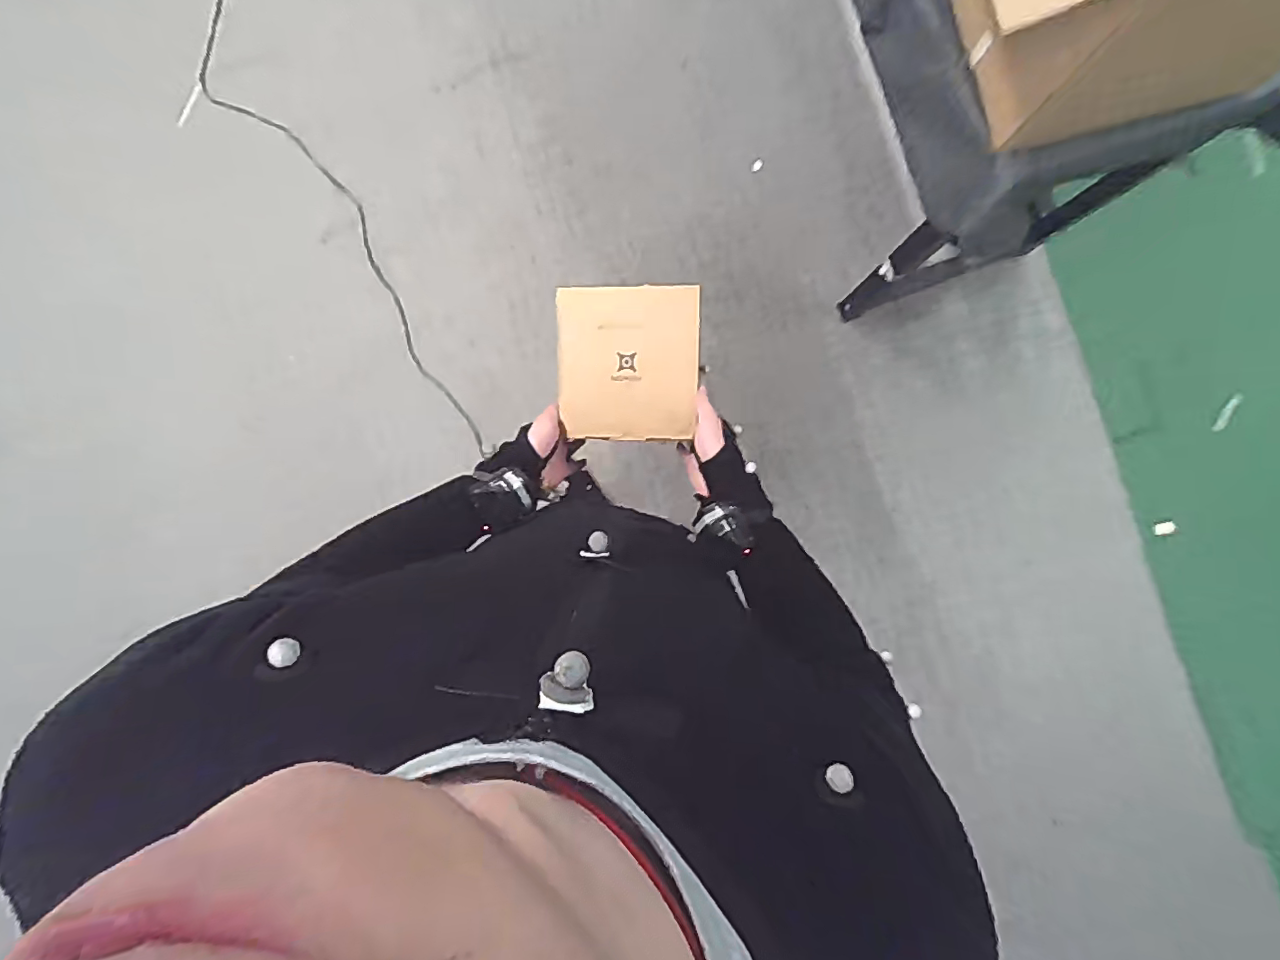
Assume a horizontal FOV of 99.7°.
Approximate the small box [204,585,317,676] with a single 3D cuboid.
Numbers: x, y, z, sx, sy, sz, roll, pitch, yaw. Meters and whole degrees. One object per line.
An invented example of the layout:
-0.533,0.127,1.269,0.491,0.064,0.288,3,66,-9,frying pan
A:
-1.035,0.407,1.497,0.179,0.176,0.168,-21,91,0,small box
